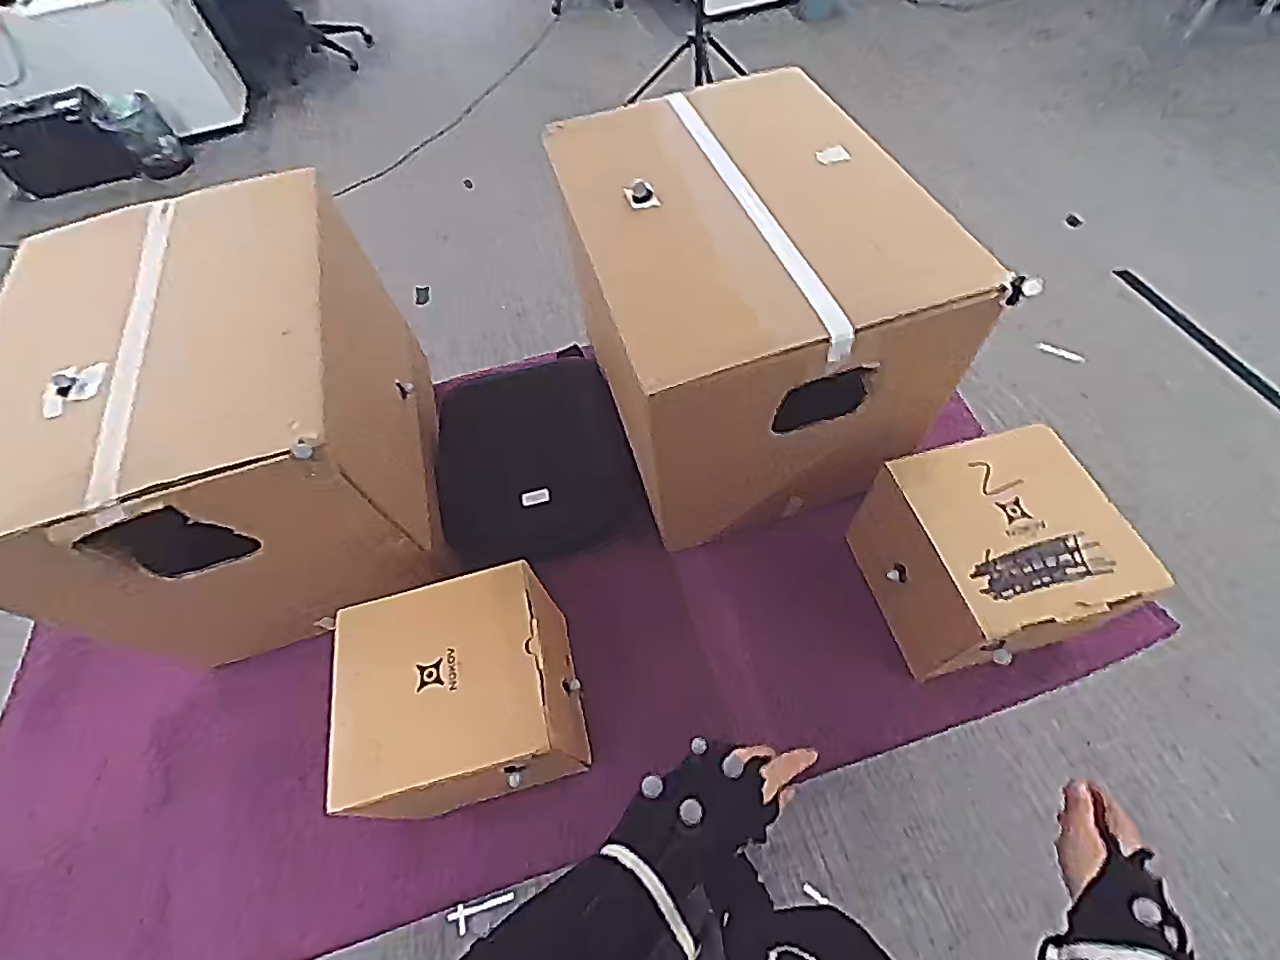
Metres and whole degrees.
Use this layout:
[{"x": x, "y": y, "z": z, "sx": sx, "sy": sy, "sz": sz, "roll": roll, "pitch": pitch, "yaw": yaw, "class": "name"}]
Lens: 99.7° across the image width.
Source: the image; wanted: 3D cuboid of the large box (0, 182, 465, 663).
[{"x": -0.431, "y": -0.058, "z": 0.627, "sx": 0.320, "sy": 0.320, "sz": 0.408, "roll": -19, "pitch": 61, "yaw": -5, "class": "large box"}]

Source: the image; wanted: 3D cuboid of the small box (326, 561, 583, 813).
[{"x": -0.166, "y": 0.205, "z": 0.522, "sx": 0.179, "sy": 0.176, "sz": 0.168, "roll": -15, "pitch": 57, "yaw": -5, "class": "small box"}]
